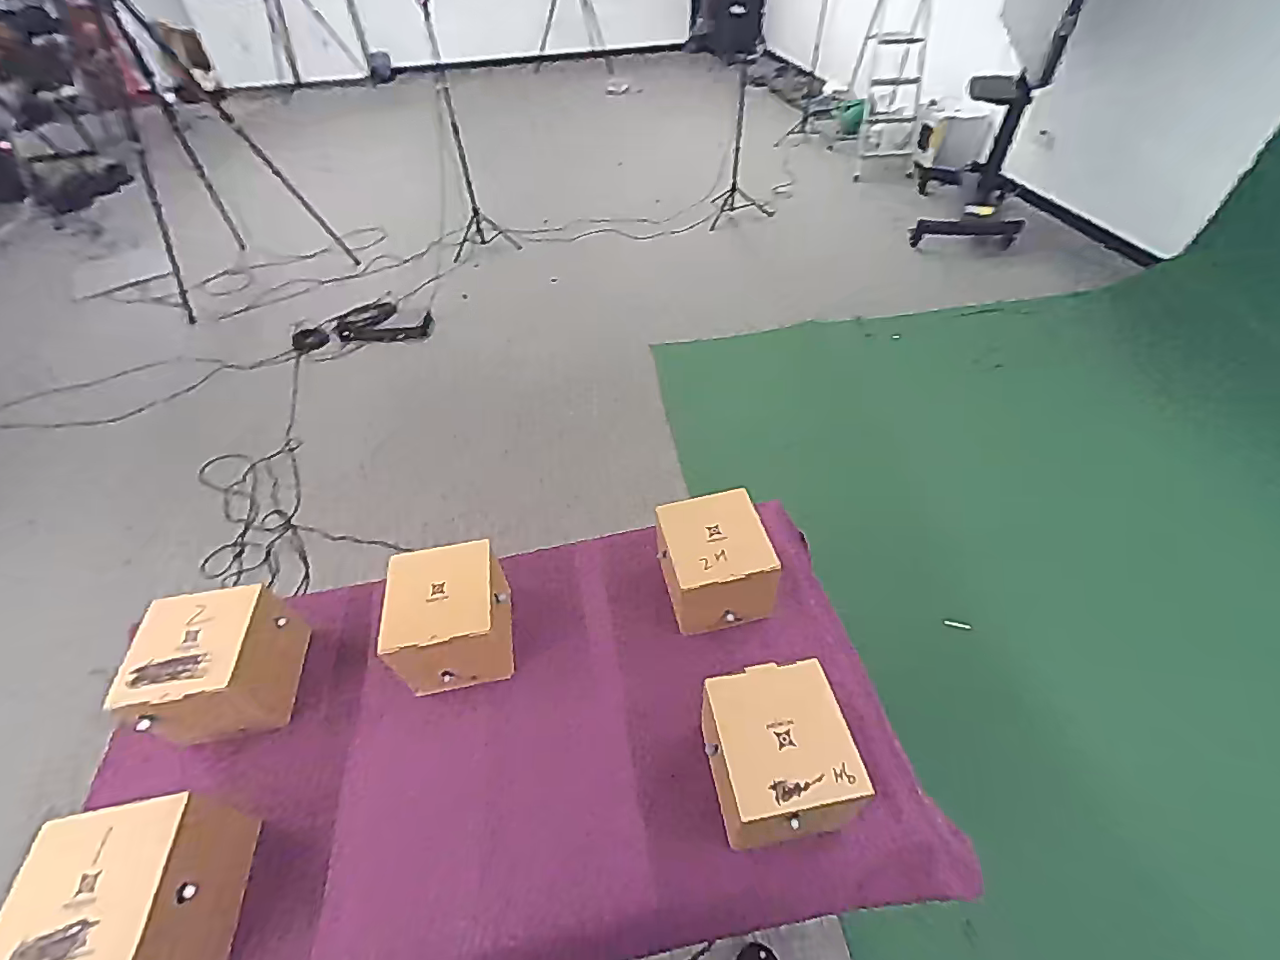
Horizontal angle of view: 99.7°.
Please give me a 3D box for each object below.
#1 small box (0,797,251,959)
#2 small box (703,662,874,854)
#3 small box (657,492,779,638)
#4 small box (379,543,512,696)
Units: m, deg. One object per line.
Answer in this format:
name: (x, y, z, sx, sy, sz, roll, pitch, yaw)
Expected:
small box: (-0.614, 0.514, 0.651, 0.168, 0.176, 0.179, -9, 47, -7)
small box: (0.186, 0.381, 0.744, 0.168, 0.176, 0.179, -9, 45, -5)
small box: (0.129, 0.151, 0.958, 0.168, 0.176, 0.179, -12, 48, -5)
small box: (-0.314, 0.234, 0.906, 0.168, 0.176, 0.179, -9, 49, -7)
